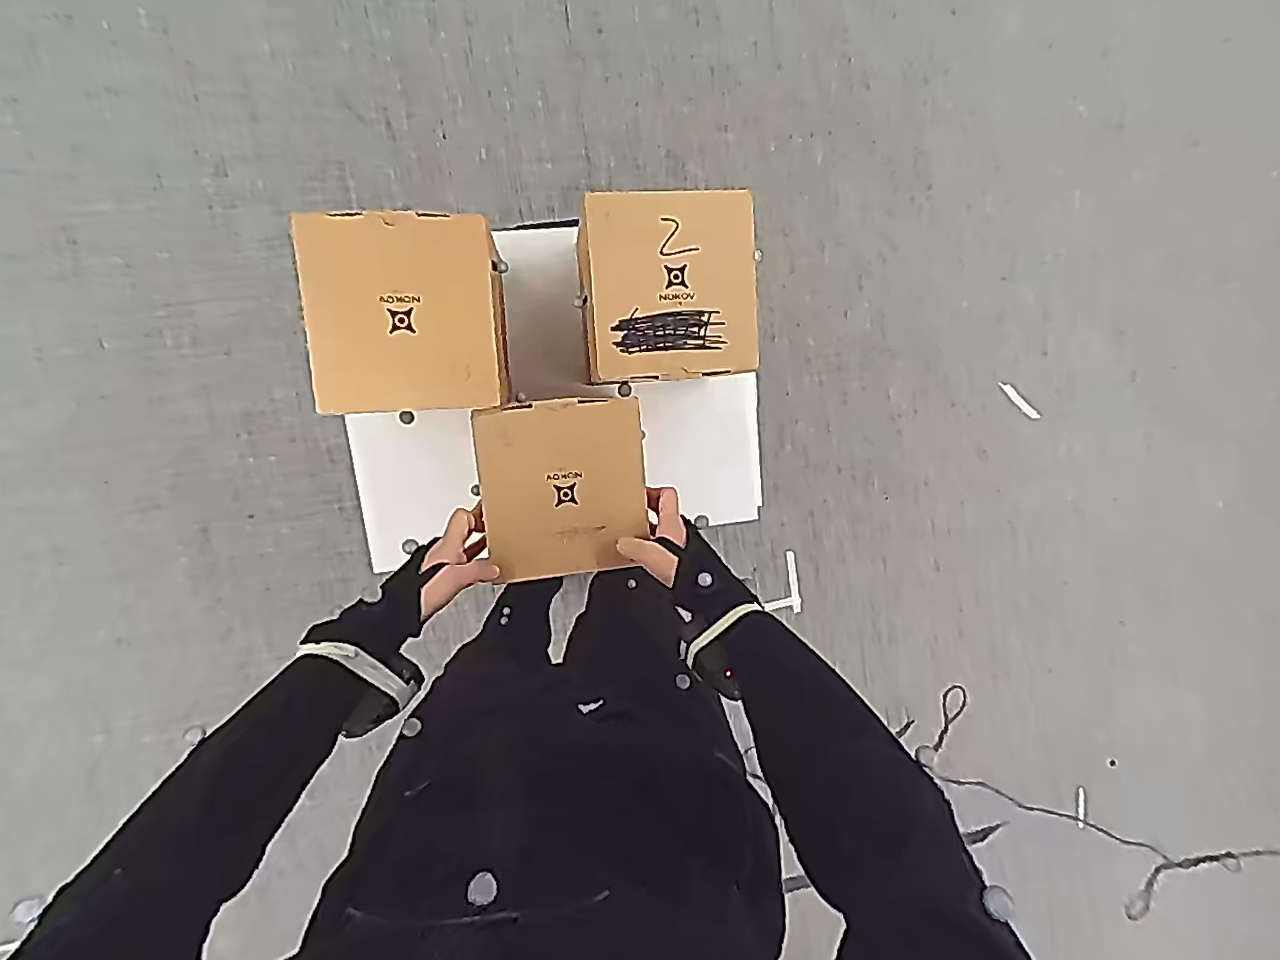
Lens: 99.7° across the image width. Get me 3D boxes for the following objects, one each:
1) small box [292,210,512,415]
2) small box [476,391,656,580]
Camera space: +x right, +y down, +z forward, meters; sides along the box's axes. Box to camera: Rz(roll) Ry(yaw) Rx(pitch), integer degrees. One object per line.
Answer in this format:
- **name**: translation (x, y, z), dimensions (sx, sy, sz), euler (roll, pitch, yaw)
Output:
- **small box**: translation (-0.228, -0.163, 0.567), dimensions (0.168, 0.176, 0.179), euler (-4, 99, -9)
- **small box**: translation (-0.083, -0.004, 0.614), dimensions (0.168, 0.176, 0.179), euler (-7, 99, -8)
